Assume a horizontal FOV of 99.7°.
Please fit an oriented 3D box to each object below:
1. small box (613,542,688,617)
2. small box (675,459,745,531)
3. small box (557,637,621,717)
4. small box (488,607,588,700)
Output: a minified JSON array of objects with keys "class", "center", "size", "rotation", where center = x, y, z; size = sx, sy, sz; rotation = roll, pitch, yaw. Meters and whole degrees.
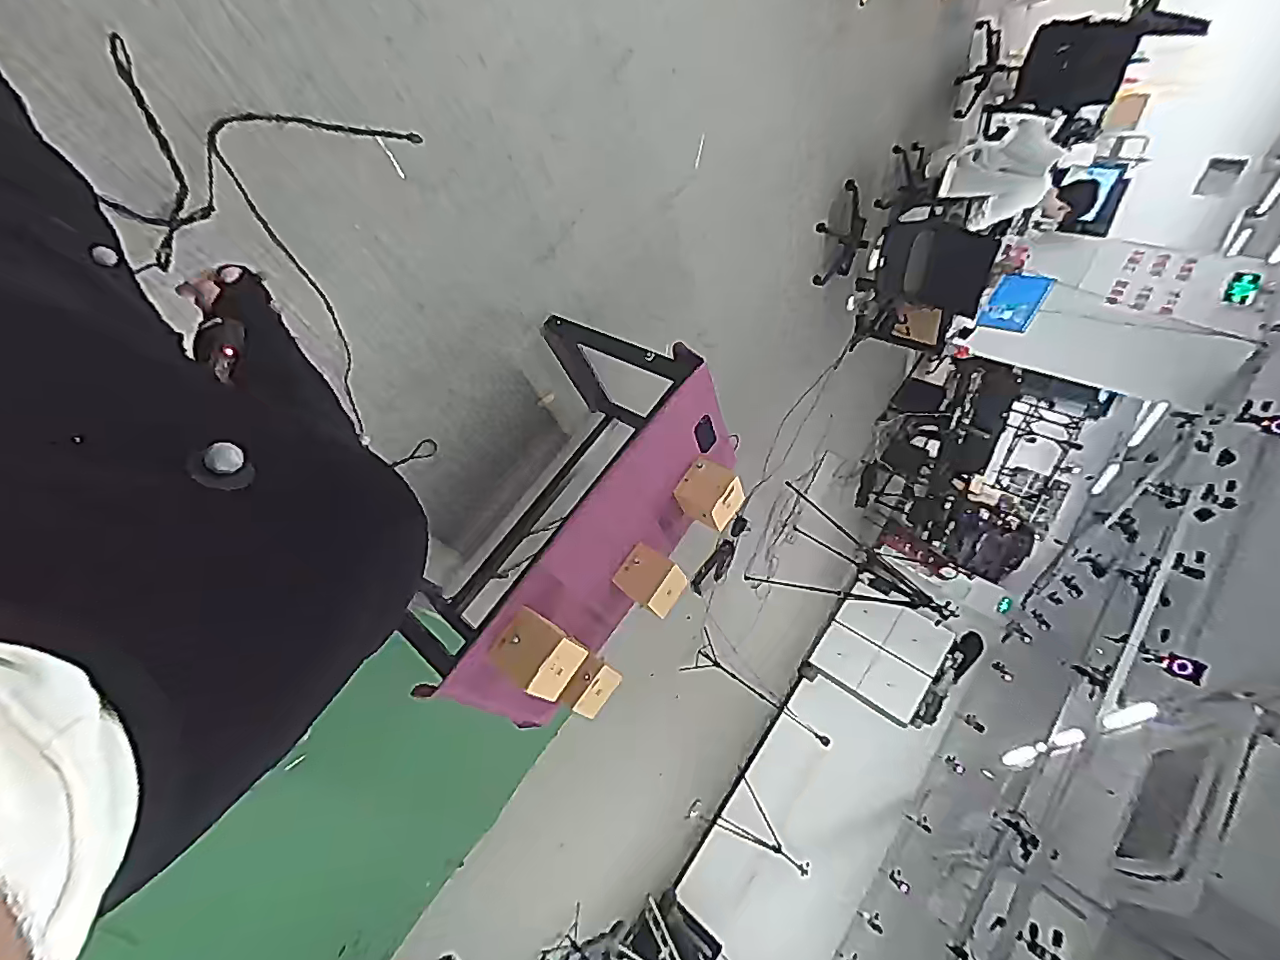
[{"class":"small box","center":[0.036,0.338,1.850],"size":[0.168,0.176,0.179],"rotation":[-53,147,-14]},{"class":"small box","center":[0.247,0.046,1.916],"size":[0.168,0.176,0.179],"rotation":[-52,148,-14]},{"class":"small box","center":[-0.194,0.634,1.751],"size":[0.168,0.176,0.179],"rotation":[-52,147,-16]},{"class":"small box","center":[-0.282,0.479,1.498],"size":[0.168,0.176,0.179],"rotation":[-54,147,-15]}]
